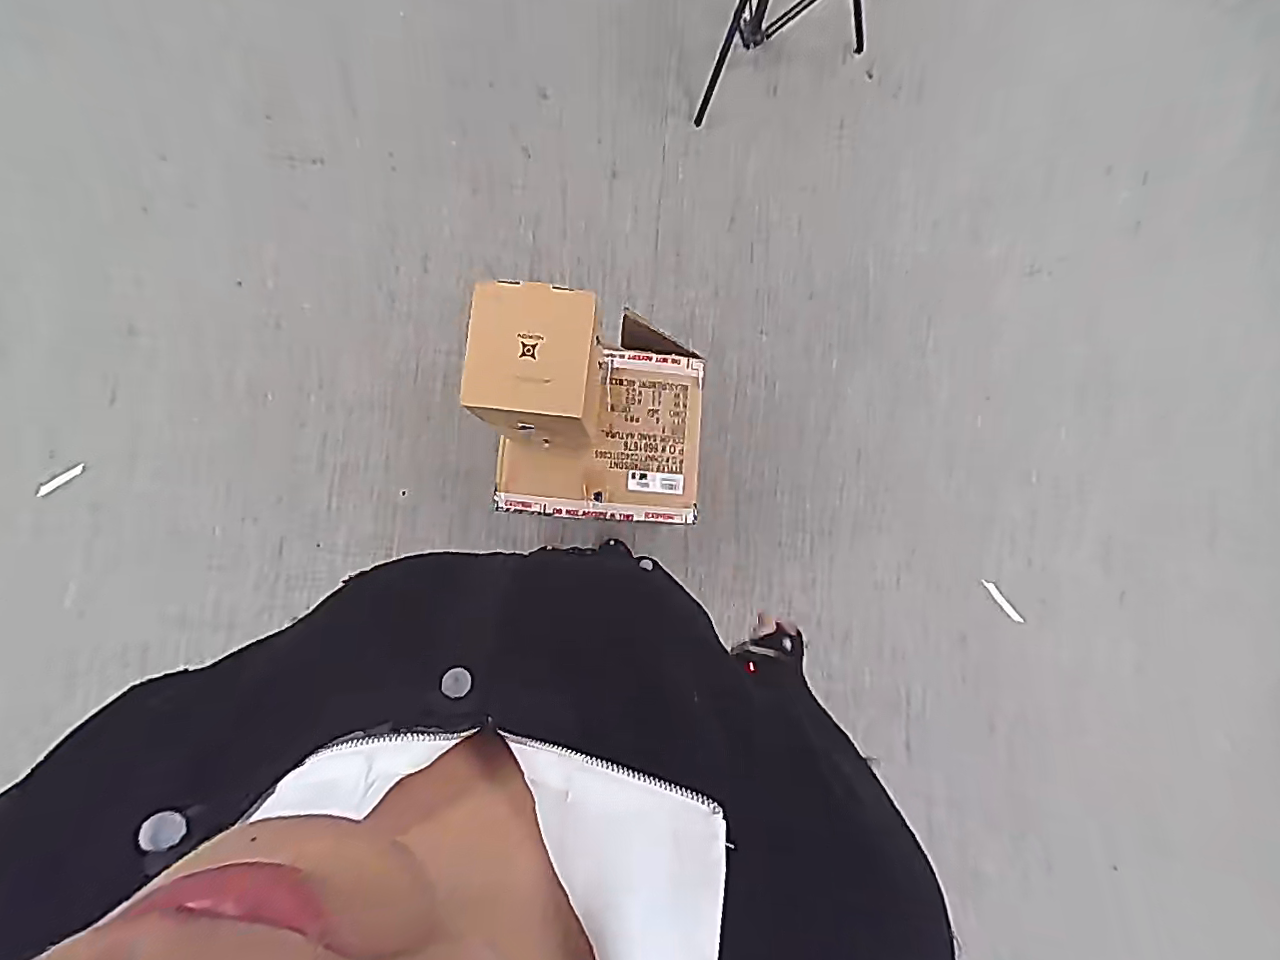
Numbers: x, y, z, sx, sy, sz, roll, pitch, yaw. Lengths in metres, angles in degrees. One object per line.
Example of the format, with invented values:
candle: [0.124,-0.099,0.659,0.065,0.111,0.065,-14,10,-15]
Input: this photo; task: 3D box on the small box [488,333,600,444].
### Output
small box: [-0.162,-0.169,0.961,0.168,0.176,0.179,6,87,-2]

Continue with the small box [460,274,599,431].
small box: [-0.151,-0.178,0.799,0.168,0.176,0.179,6,87,-1]
